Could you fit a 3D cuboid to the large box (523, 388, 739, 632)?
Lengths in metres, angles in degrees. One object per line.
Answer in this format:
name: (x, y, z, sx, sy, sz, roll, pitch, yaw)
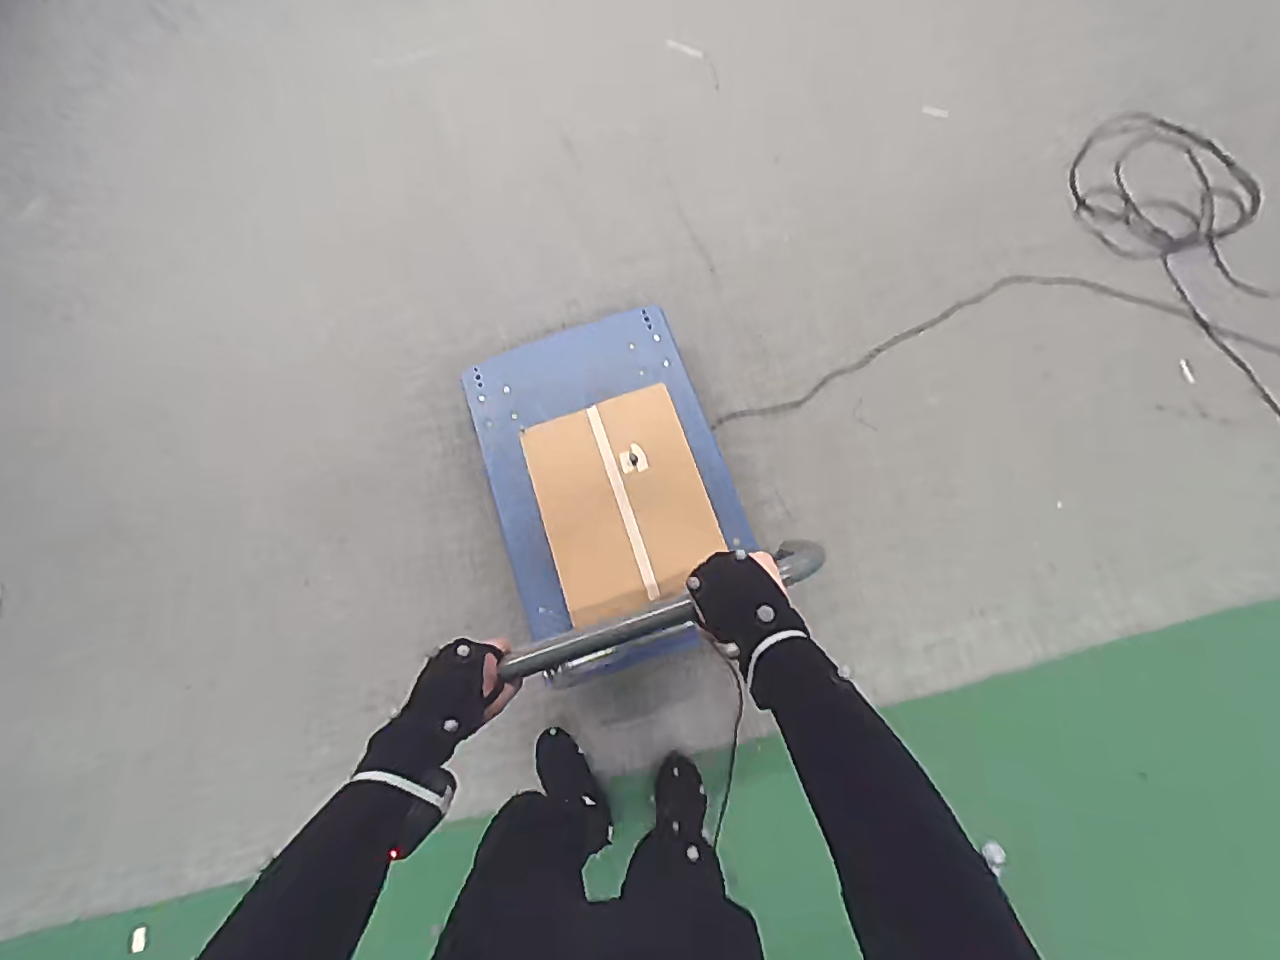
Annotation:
large box: (-0.013, 0.082, 1.165, 0.320, 0.320, 0.408, -19, 73, -1)
